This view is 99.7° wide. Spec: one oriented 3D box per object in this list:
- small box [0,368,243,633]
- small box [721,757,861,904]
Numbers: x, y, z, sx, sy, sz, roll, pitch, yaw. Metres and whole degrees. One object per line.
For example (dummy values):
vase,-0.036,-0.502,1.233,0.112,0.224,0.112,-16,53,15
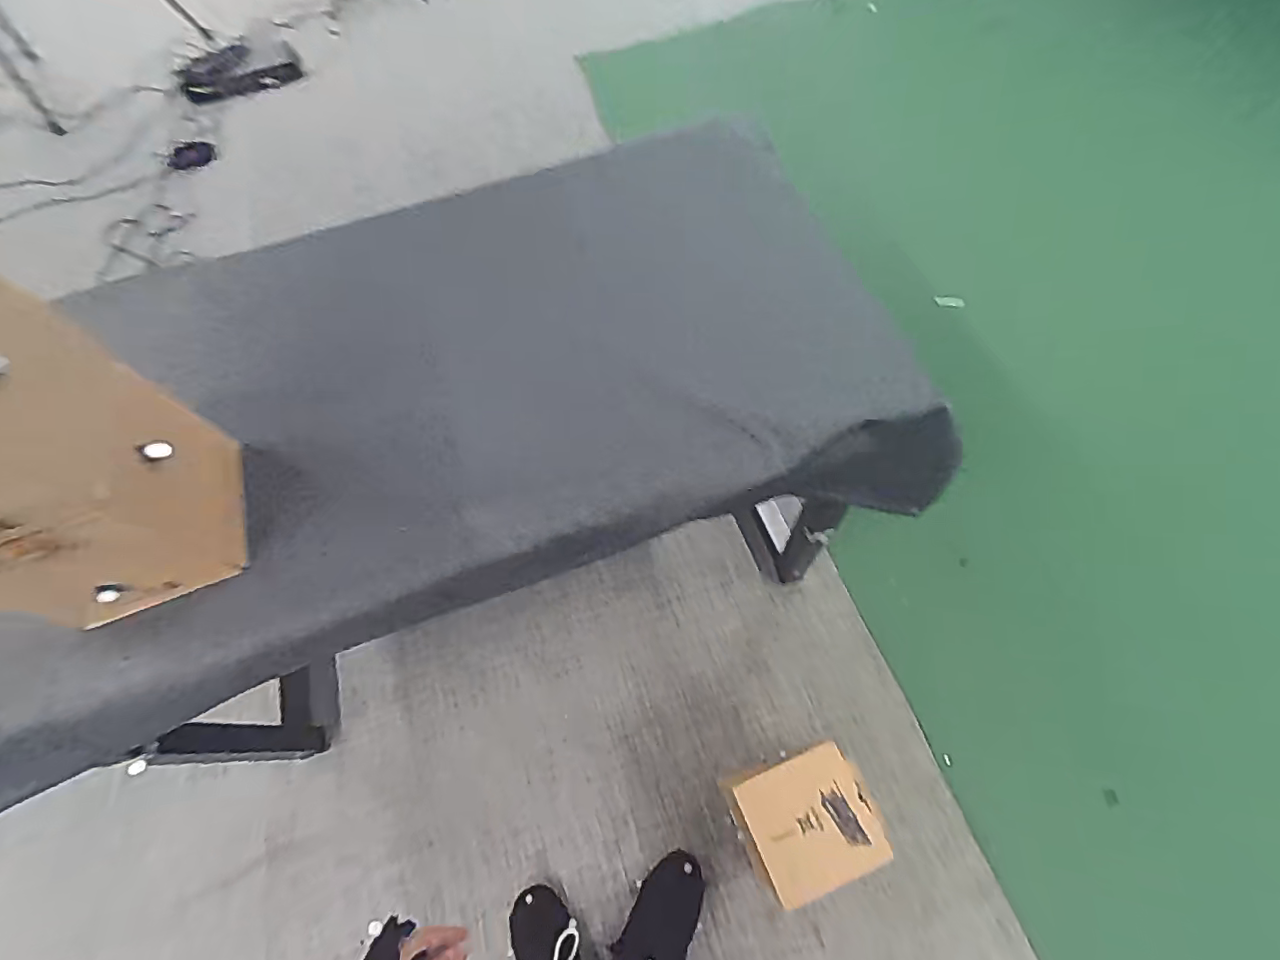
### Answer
small box,-0.532,0.028,0.534,0.168,0.176,0.179,-21,63,-7
small box,0.260,0.622,0.983,0.179,0.176,0.168,-22,62,-6
